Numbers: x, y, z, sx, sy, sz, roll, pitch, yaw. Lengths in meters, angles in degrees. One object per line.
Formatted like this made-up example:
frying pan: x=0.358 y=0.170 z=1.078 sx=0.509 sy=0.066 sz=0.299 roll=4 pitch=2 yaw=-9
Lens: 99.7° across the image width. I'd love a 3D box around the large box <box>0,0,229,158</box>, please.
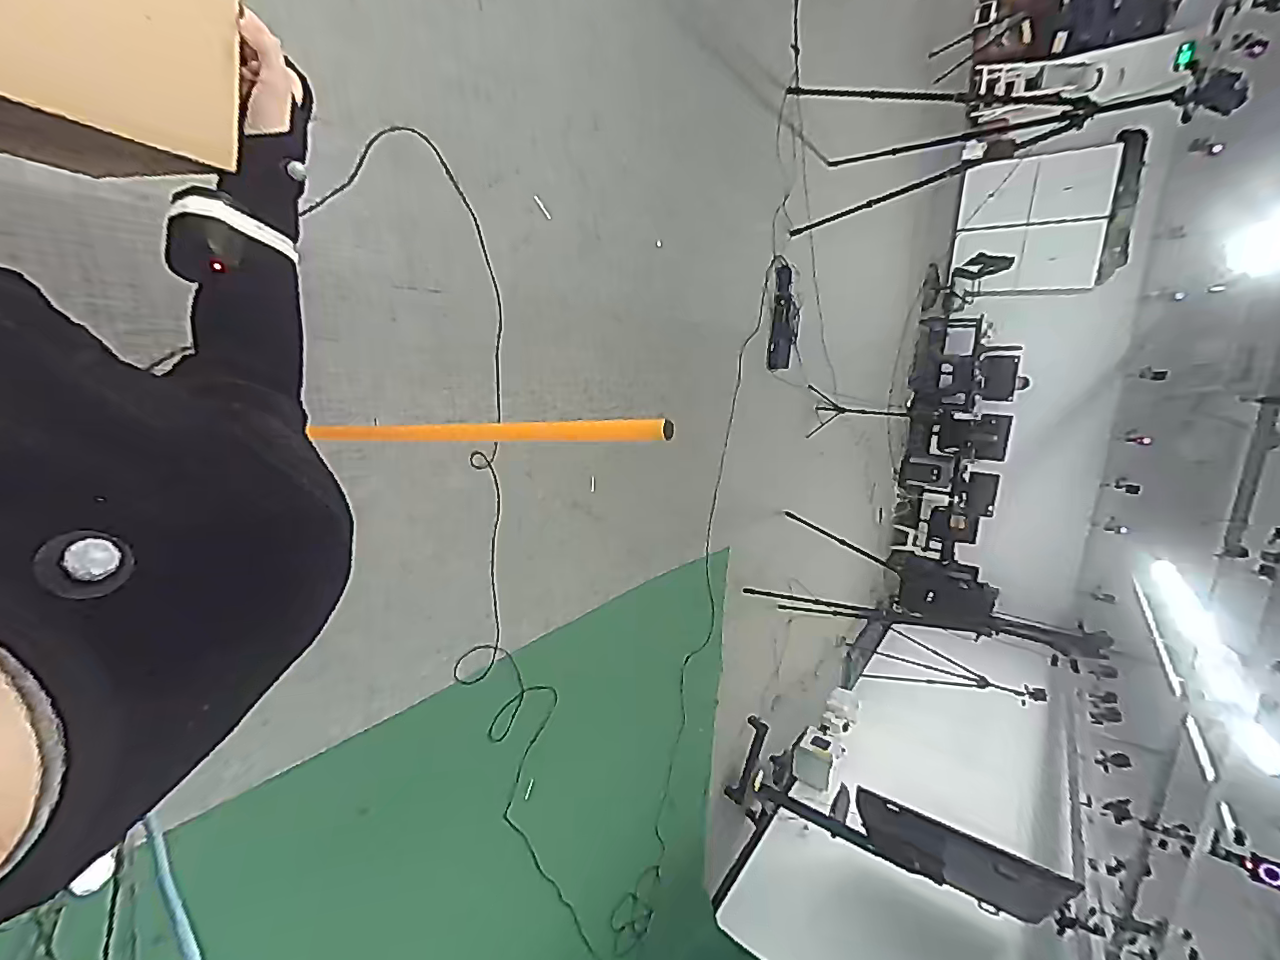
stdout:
large box: x=-0.545 y=-0.428 z=0.321 sx=0.408 sy=0.320 sz=0.320 roll=-12 pitch=115 yaw=-58
